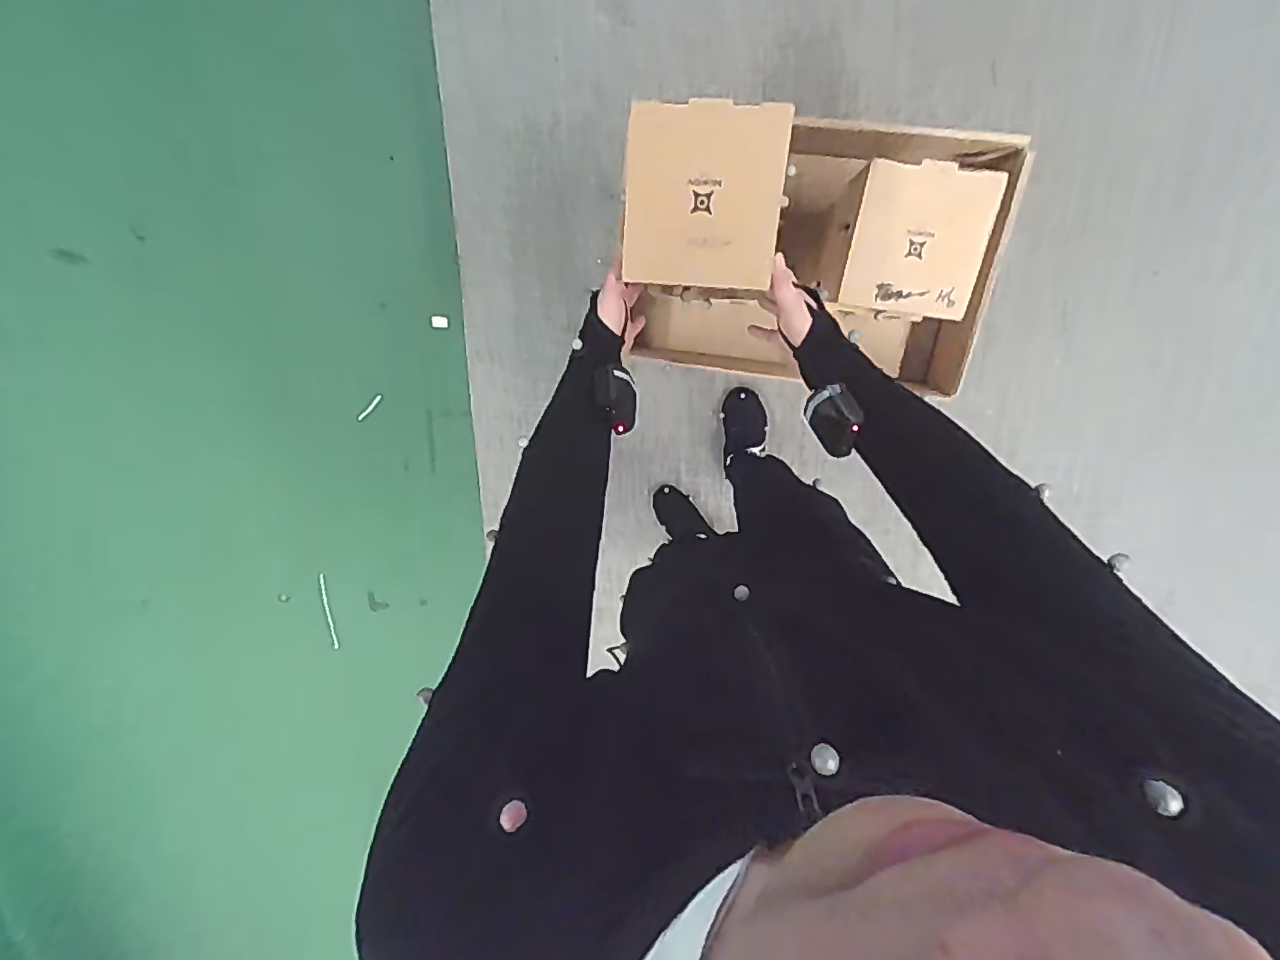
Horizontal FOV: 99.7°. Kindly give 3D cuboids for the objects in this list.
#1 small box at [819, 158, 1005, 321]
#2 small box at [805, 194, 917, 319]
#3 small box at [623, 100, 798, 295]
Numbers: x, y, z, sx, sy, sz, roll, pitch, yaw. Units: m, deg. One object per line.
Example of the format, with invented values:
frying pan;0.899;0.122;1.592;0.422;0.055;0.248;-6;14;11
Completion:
small box;0.366;-0.333;0.769;0.168;0.176;0.179;11;111;5
small box;0.389;-0.380;0.926;0.168;0.176;0.179;8;112;5
small box;0.078;-0.318;0.640;0.168;0.176;0.179;7;110;6
